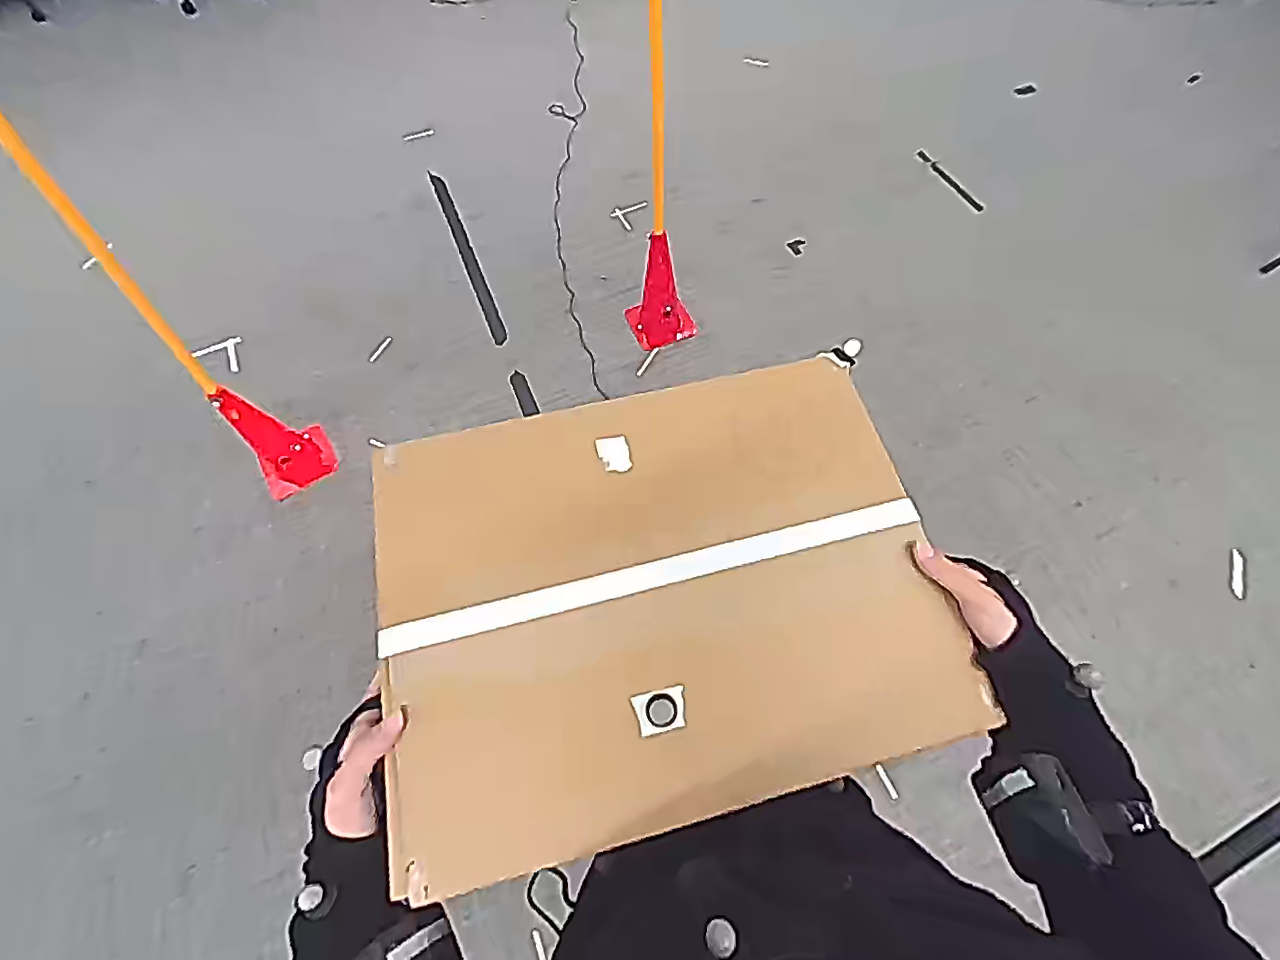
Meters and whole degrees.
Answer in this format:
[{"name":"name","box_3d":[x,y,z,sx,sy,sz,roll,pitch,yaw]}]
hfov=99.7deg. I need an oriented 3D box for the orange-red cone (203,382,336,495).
[{"name":"orange-red cone","box_3d":[-1.032,-0.142,1.462,0.199,0.360,0.198,-31,65,-12]}]
